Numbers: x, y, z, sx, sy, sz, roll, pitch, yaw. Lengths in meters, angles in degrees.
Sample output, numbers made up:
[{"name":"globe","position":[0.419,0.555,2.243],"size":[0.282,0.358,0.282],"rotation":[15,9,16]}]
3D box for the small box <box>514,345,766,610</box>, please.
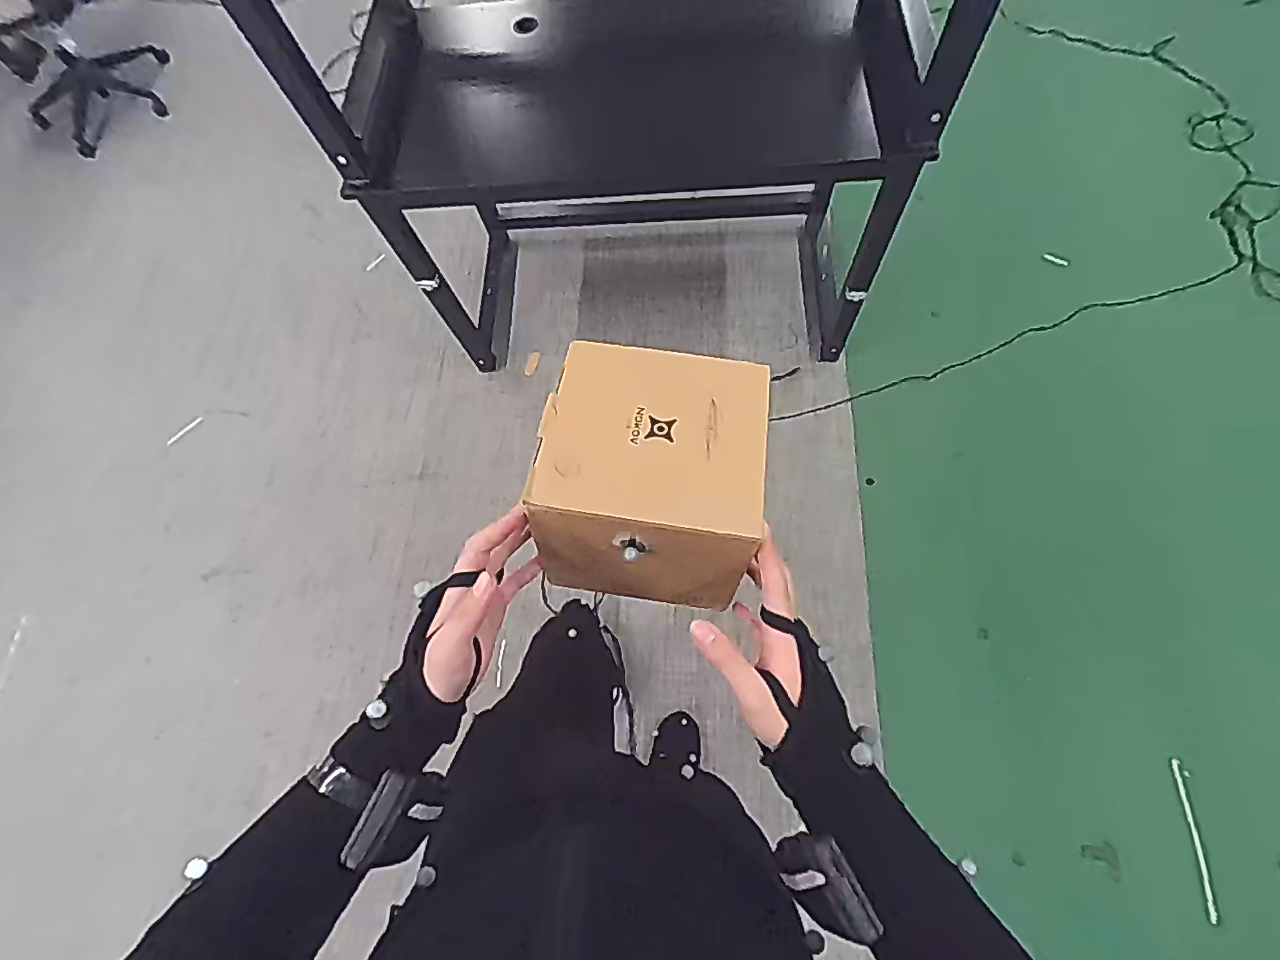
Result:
[{"name":"small box","position":[0.007,0.005,0.488],"size":[0.179,0.176,0.168],"rotation":[9,59,4]}]
